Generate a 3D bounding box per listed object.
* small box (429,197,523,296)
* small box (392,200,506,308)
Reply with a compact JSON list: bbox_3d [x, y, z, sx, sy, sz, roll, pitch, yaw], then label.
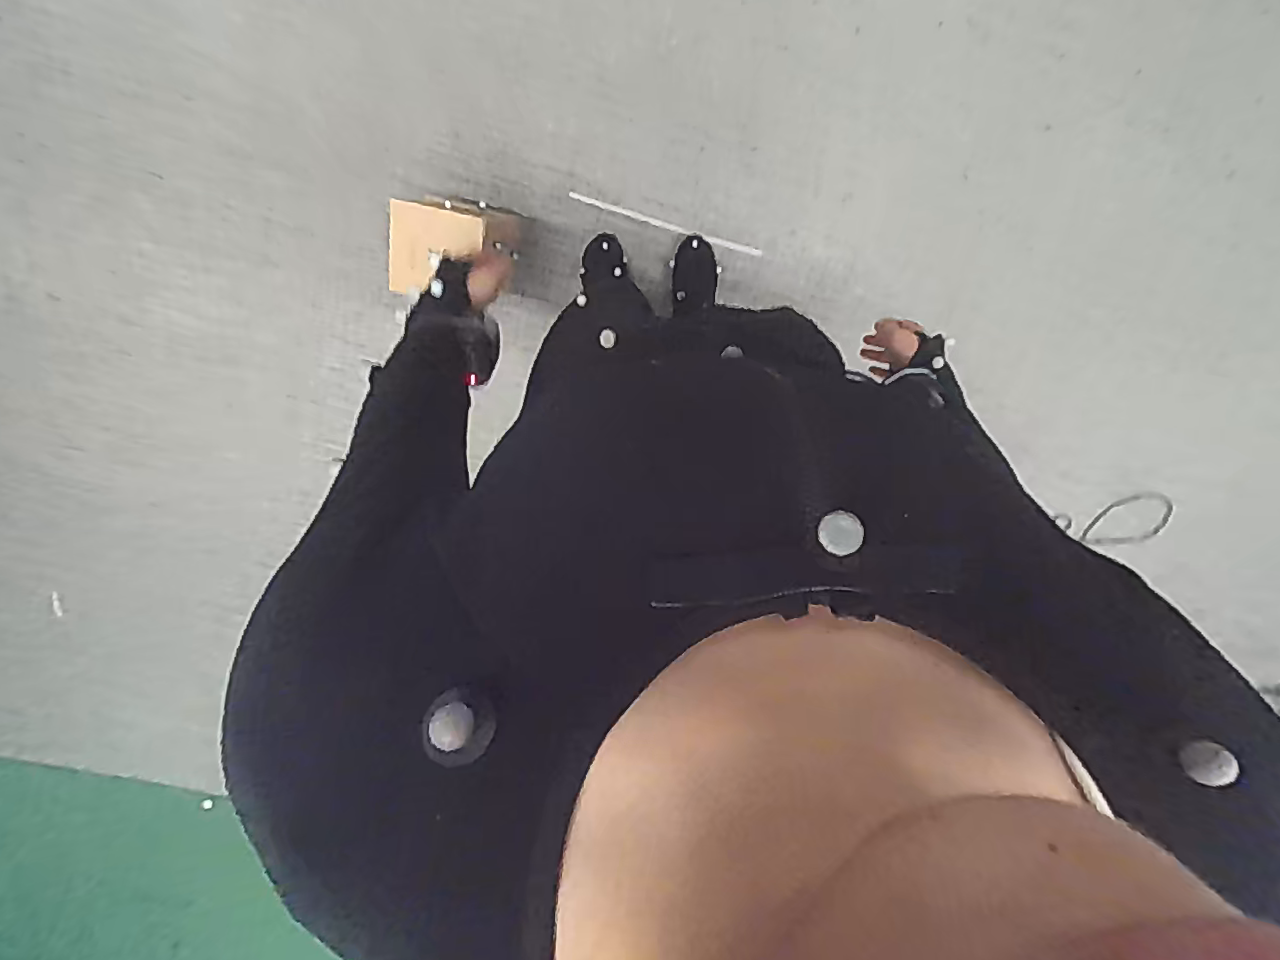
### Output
[{"bbox_3d":[-0.378,-0.539,1.247,0.179,0.176,0.168,13,114,-6],"label":"small box"},{"bbox_3d":[-0.382,-0.461,1.103,0.179,0.176,0.168,11,113,-3],"label":"small box"}]
